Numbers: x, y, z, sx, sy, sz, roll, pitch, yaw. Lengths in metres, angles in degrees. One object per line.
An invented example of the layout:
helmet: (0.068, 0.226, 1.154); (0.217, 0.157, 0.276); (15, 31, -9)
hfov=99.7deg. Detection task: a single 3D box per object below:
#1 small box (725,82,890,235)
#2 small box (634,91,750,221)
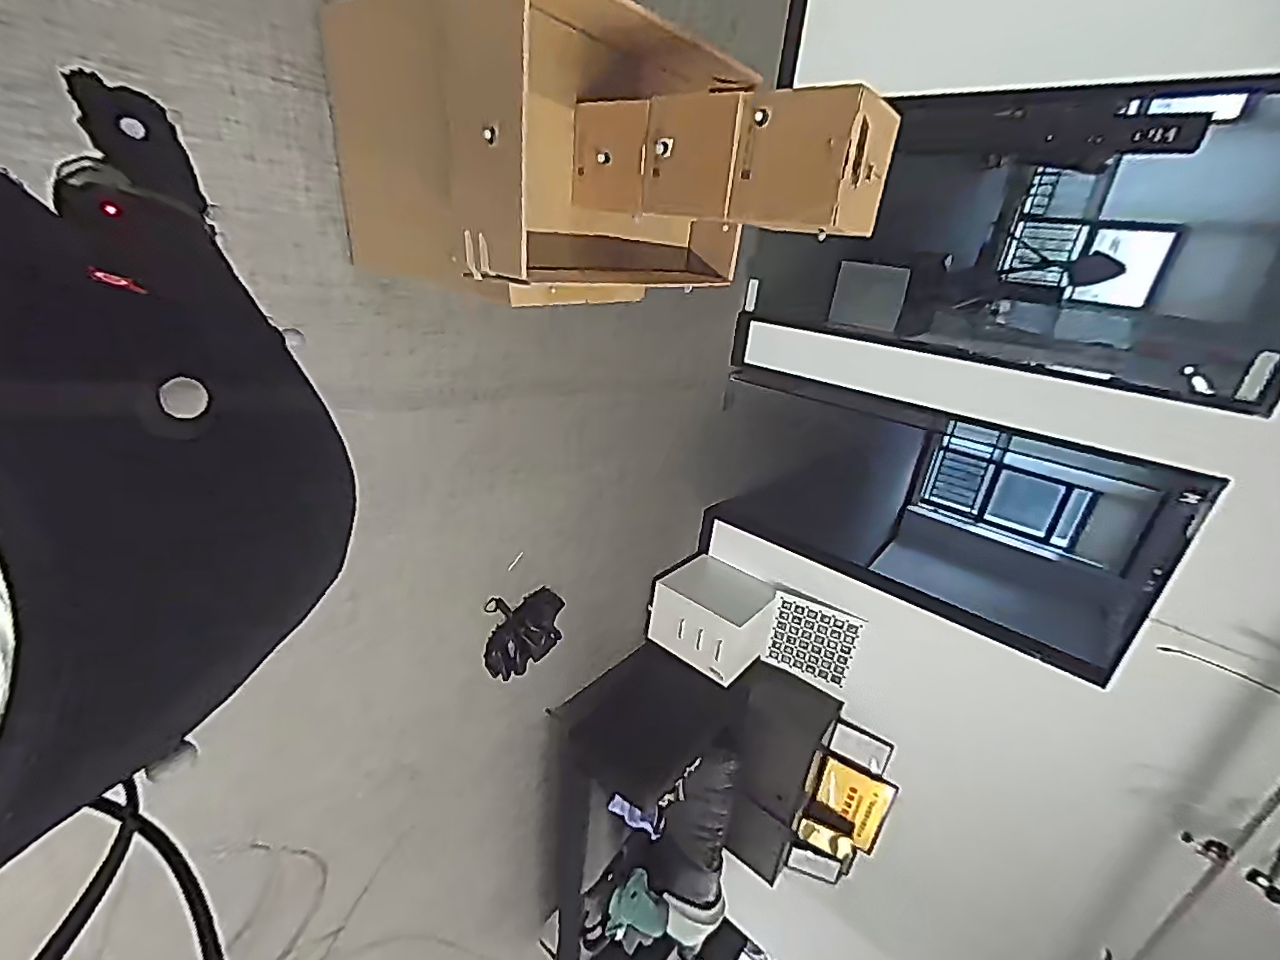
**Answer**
small box: (0.247, -0.471, 0.812); (0.179, 0.176, 0.168); (-24, 129, -49)
small box: (0.113, -0.525, 0.892); (0.179, 0.176, 0.168); (-26, 130, -45)
